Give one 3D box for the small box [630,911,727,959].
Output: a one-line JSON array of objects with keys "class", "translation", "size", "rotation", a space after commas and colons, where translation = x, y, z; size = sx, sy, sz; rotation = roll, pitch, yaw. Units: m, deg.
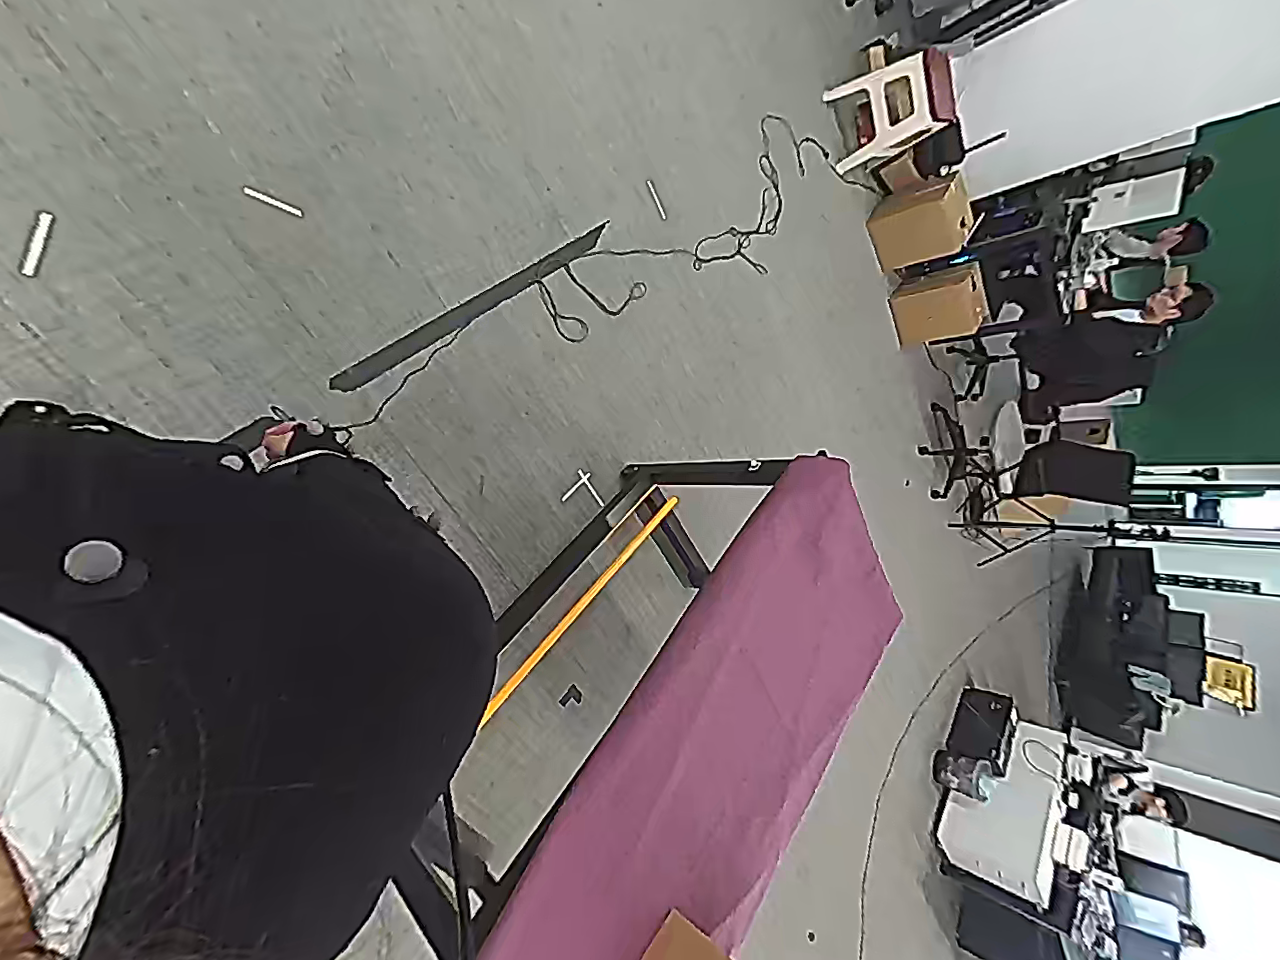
[{"class": "small box", "translation": [0.073, 0.883, 0.900], "size": [0.179, 0.176, 0.168], "rotation": [-40, 114, -34]}]
